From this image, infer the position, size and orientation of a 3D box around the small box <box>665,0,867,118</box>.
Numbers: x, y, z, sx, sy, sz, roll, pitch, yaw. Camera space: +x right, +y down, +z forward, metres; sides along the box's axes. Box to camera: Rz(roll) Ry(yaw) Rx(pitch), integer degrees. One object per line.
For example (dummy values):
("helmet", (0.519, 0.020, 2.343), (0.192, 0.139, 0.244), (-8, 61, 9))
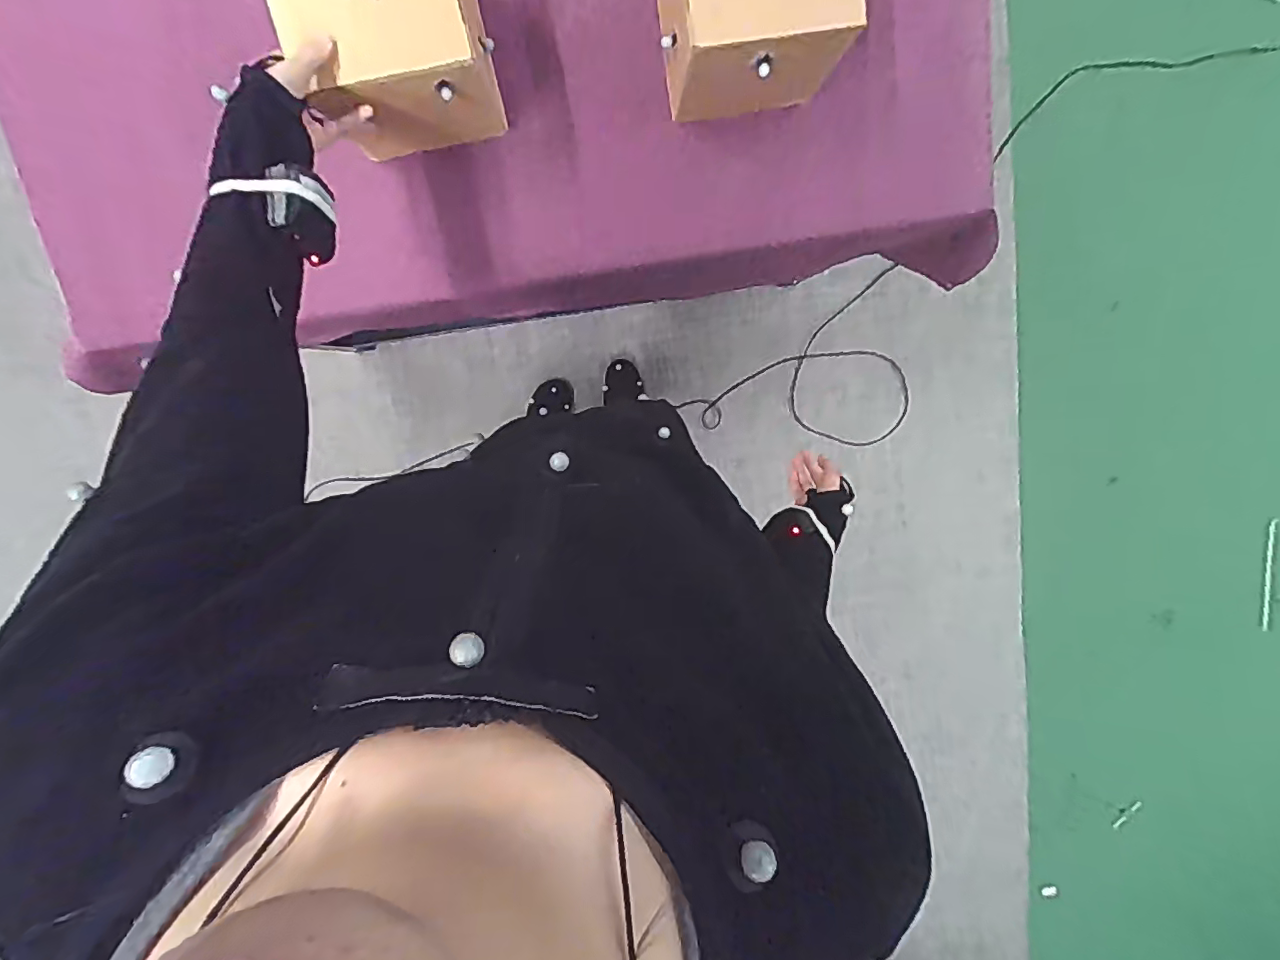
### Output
("small box", (0.123, -0.525, 0.589), (0.179, 0.176, 0.168), (-9, 103, -1))

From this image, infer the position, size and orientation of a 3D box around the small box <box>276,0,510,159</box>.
("small box", (-0.258, -0.476, 0.583), (0.179, 0.176, 0.168), (-13, 102, -1))
